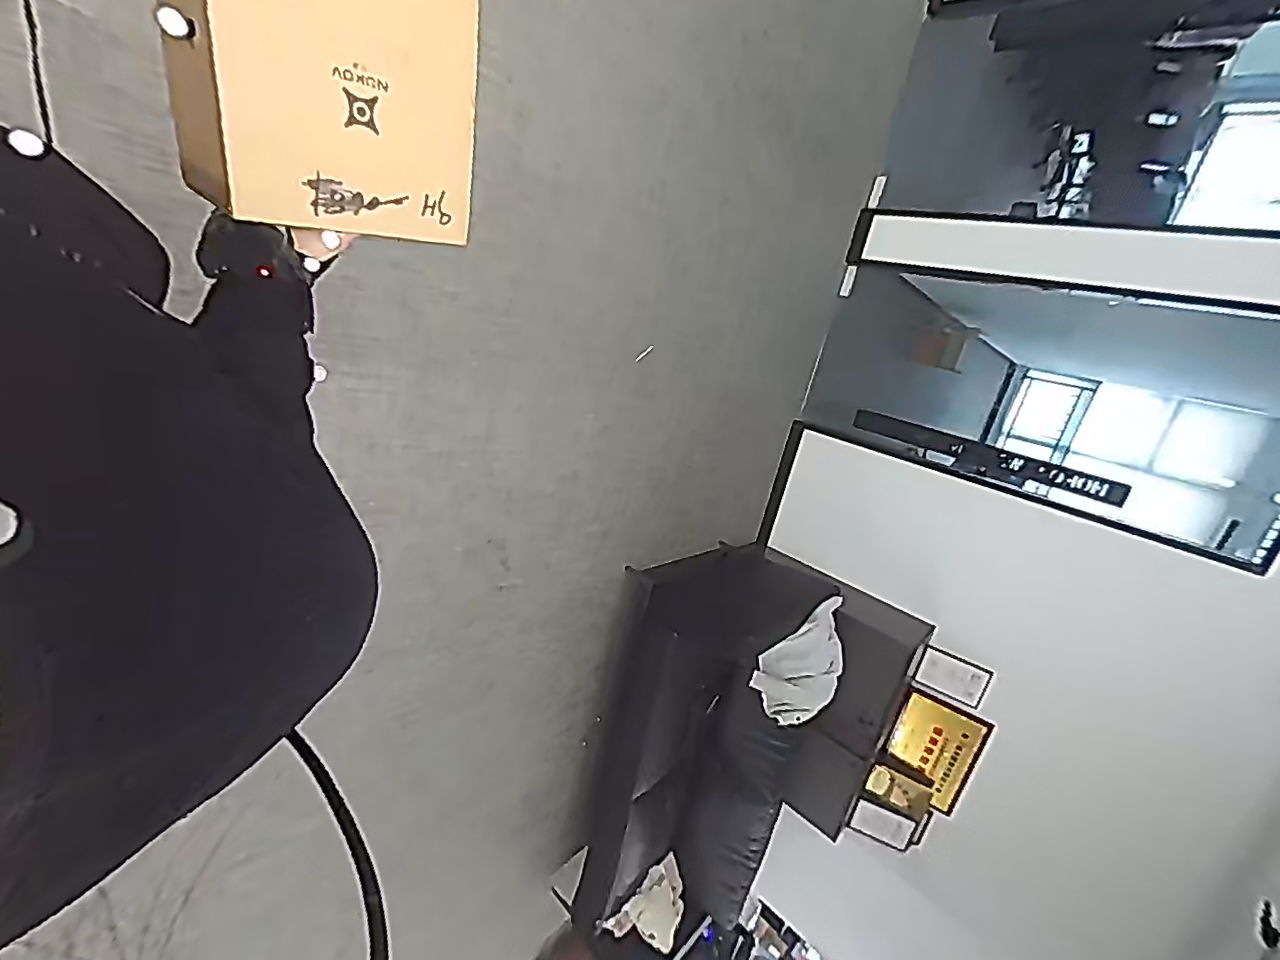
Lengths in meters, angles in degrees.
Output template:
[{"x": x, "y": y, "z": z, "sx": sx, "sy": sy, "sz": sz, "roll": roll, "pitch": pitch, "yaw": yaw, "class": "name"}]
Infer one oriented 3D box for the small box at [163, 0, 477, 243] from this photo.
[{"x": -0.247, "y": -0.300, "z": 0.423, "sx": 0.168, "sy": 0.176, "sz": 0.179, "roll": -15, "pitch": 127, "yaw": -42, "class": "small box"}]
